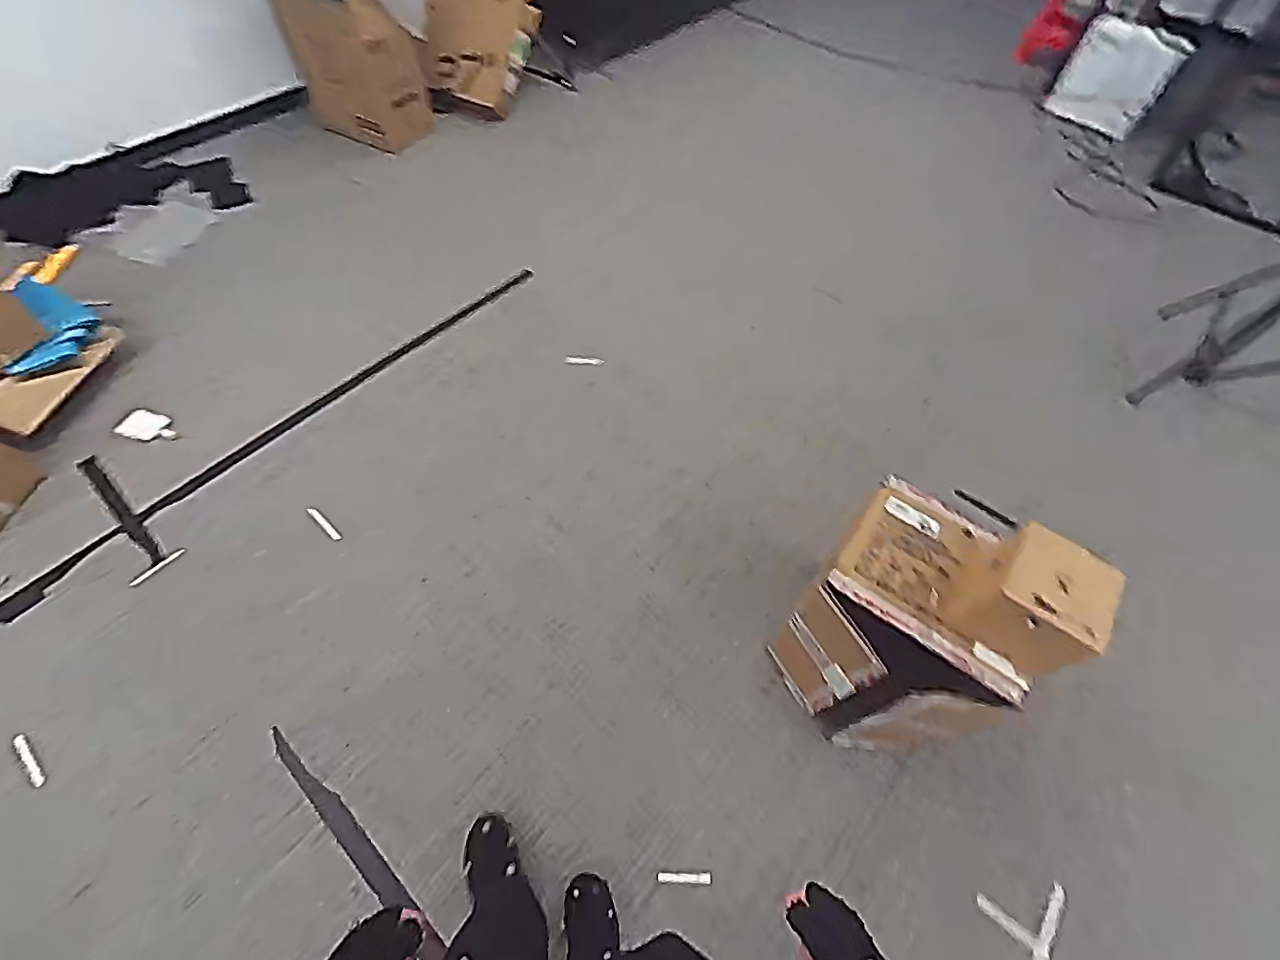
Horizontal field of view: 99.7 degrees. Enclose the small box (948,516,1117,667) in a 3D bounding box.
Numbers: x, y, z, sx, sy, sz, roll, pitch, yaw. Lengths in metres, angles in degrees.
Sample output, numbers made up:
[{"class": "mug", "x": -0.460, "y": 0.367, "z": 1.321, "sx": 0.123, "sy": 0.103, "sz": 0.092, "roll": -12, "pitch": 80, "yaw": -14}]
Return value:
[{"class": "small box", "x": 0.693, "y": 0.204, "z": 0.972, "sx": 0.168, "sy": 0.176, "sz": 0.179, "roll": 34, "pitch": 61, "yaw": 16}]
